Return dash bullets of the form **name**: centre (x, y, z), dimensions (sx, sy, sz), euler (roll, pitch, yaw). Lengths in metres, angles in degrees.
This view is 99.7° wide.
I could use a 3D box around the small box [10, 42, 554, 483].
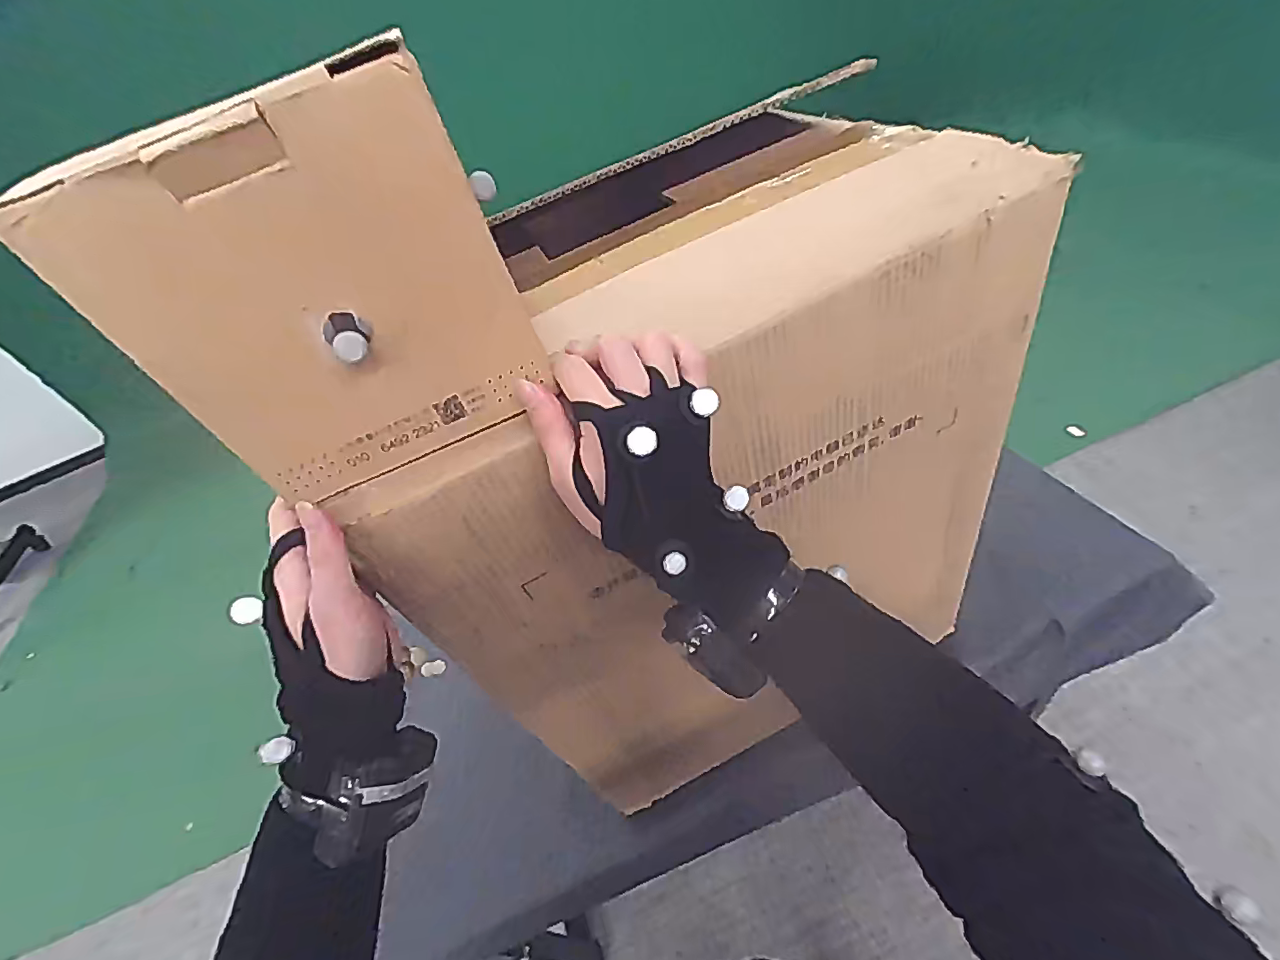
- **small box**: centre (-0.166, -0.120, 0.318), dimensions (0.168, 0.176, 0.179), euler (-24, 45, -5)
